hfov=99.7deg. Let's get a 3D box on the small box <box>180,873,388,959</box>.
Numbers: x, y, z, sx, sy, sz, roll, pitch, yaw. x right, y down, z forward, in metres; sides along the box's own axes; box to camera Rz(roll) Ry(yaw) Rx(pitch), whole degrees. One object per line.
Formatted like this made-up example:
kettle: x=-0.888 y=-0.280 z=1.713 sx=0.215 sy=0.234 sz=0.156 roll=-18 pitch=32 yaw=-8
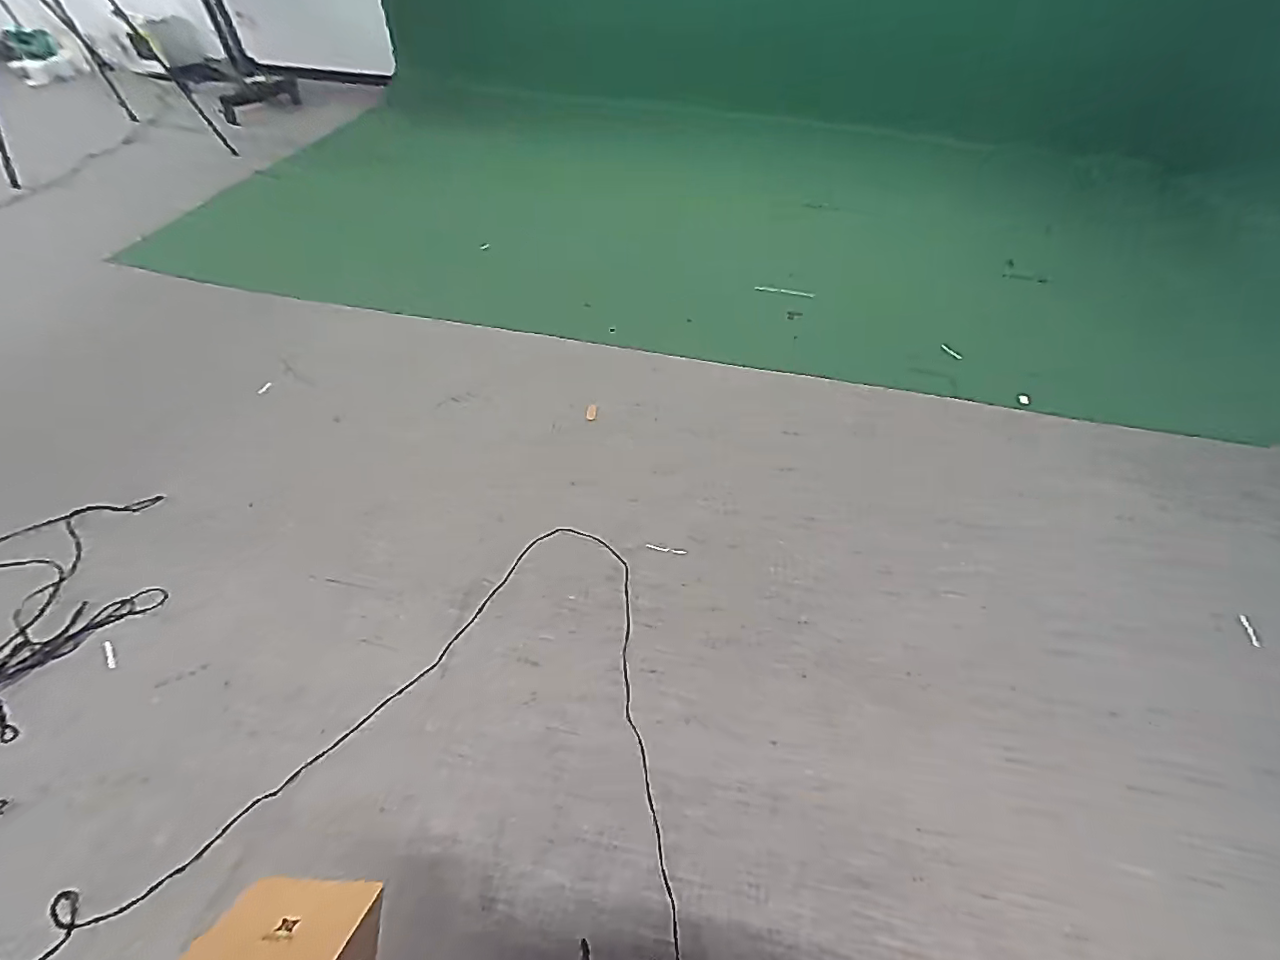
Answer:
small box: x=-0.427 y=0.614 z=0.641 sx=0.168 sy=0.179 sz=0.176 roll=5 pitch=86 yaw=-2
